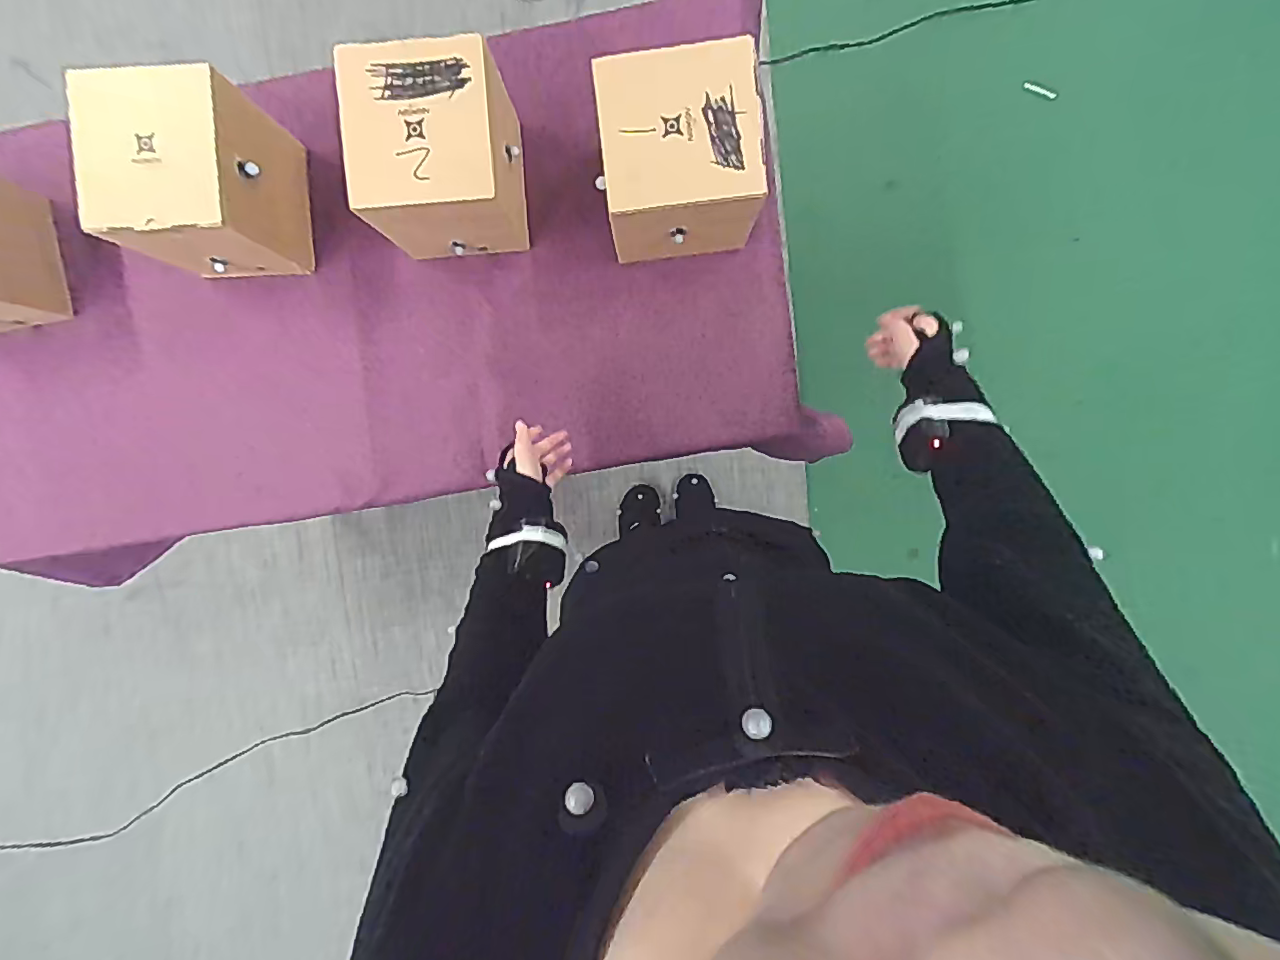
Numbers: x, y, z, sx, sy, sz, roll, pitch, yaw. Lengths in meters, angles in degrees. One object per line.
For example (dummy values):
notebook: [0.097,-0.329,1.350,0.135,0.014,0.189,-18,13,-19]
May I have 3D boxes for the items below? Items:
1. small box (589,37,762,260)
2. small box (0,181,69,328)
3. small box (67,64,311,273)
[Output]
small box: [0.041,-0.386,0.661,0.179,0.176,0.168,-6,94,4]
small box: [-0.910,-0.303,0.694,0.168,0.176,0.179,-9,94,2]
small box: [-0.549,-0.377,0.682,0.168,0.176,0.179,-1,95,2]
